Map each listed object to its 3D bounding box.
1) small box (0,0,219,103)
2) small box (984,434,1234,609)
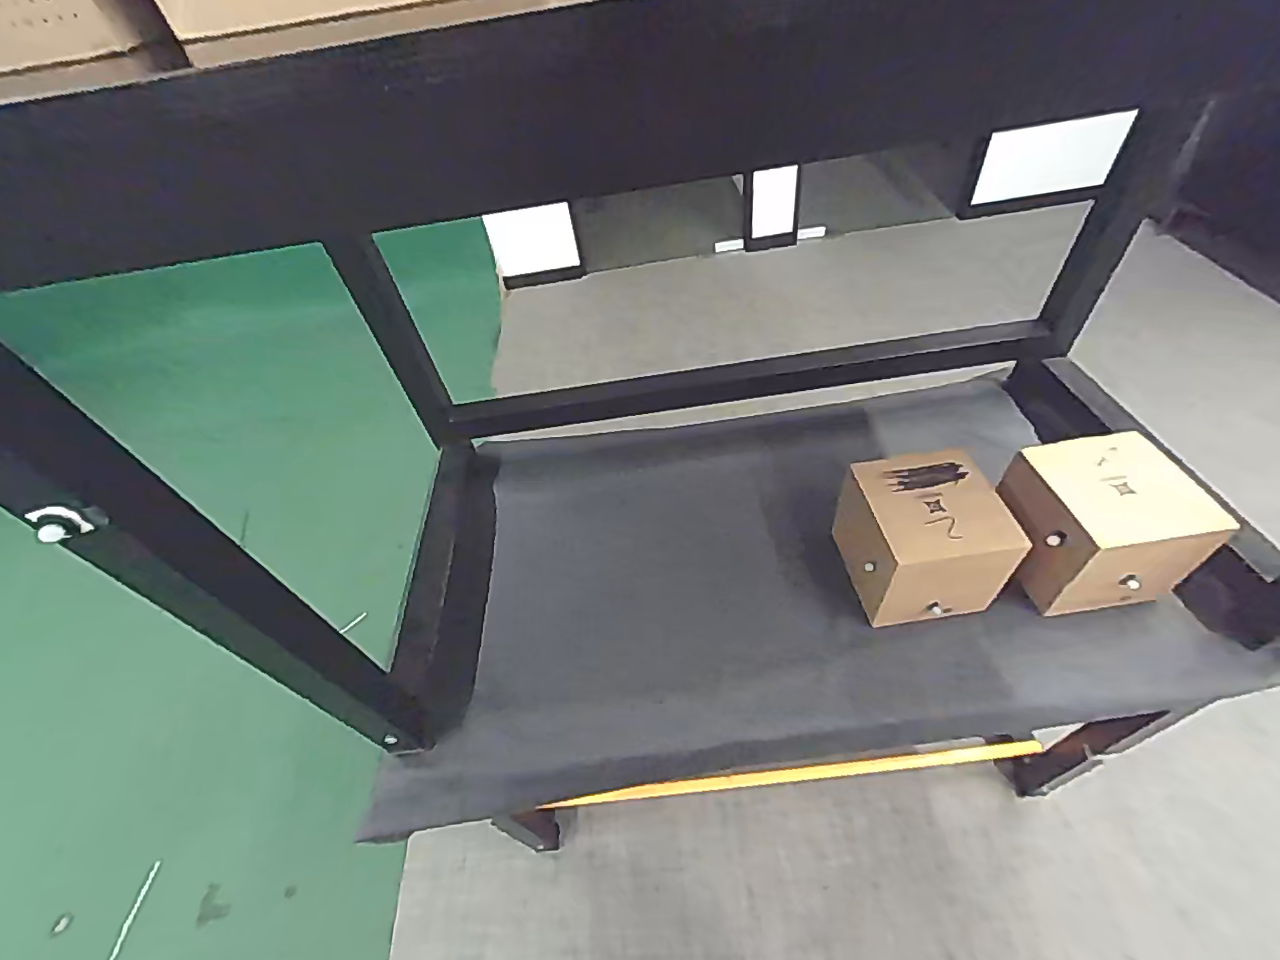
[{"bbox_3d":[-0.313,-0.281,0.234,0.168,0.176,0.179,-9,49,1],"label":"small box"},{"bbox_3d":[0.627,0.064,0.755,0.168,0.176,0.179,-9,47,1],"label":"small box"}]
